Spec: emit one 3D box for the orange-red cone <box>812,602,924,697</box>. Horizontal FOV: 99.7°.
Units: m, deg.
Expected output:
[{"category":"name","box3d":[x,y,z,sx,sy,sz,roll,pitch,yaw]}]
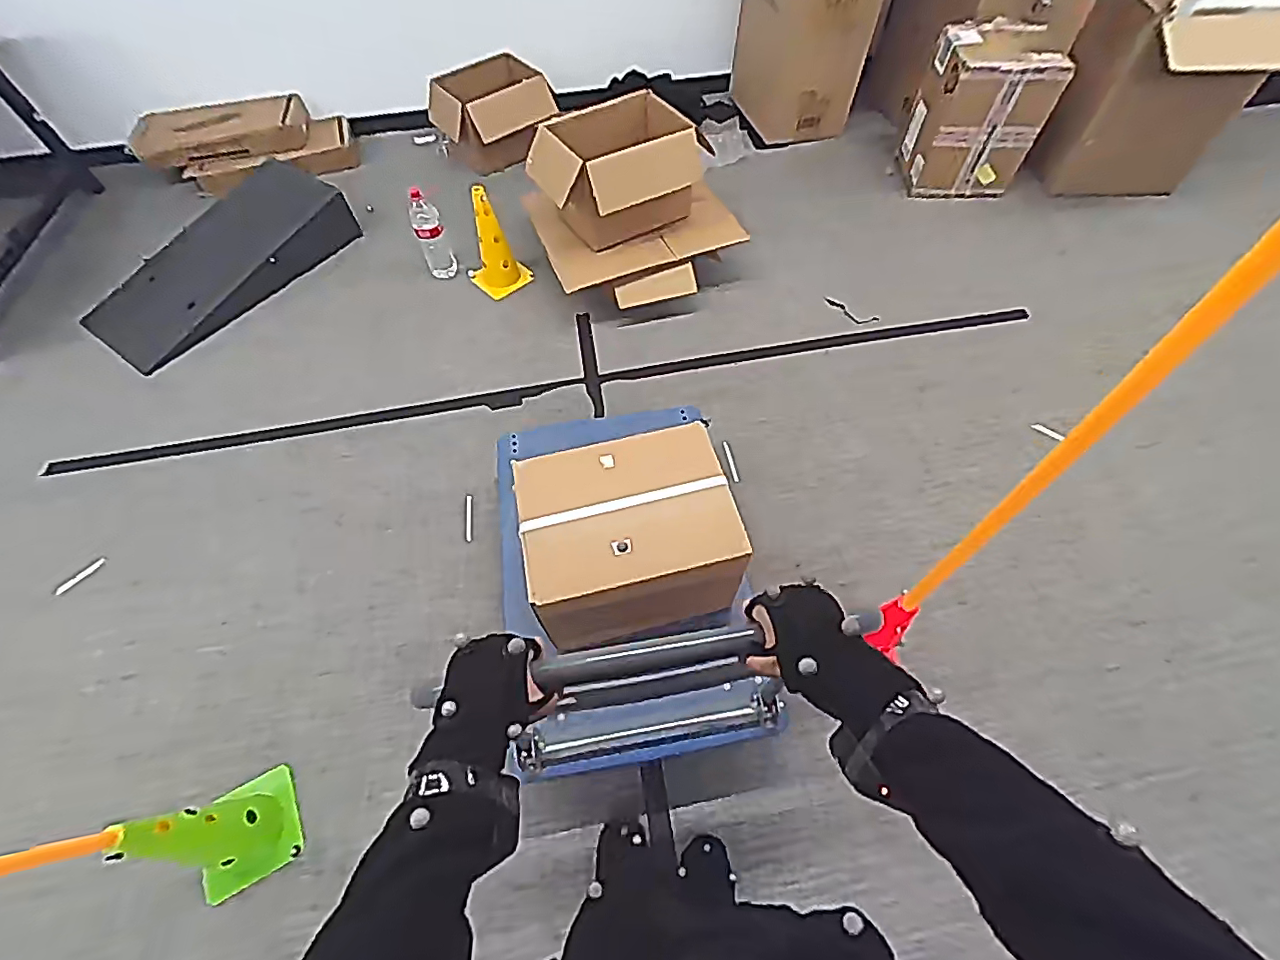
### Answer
[{"category":"orange-red cone","box3d":[0.534,0.342,1.191,0.199,0.360,0.198,-3,59,-1]}]
